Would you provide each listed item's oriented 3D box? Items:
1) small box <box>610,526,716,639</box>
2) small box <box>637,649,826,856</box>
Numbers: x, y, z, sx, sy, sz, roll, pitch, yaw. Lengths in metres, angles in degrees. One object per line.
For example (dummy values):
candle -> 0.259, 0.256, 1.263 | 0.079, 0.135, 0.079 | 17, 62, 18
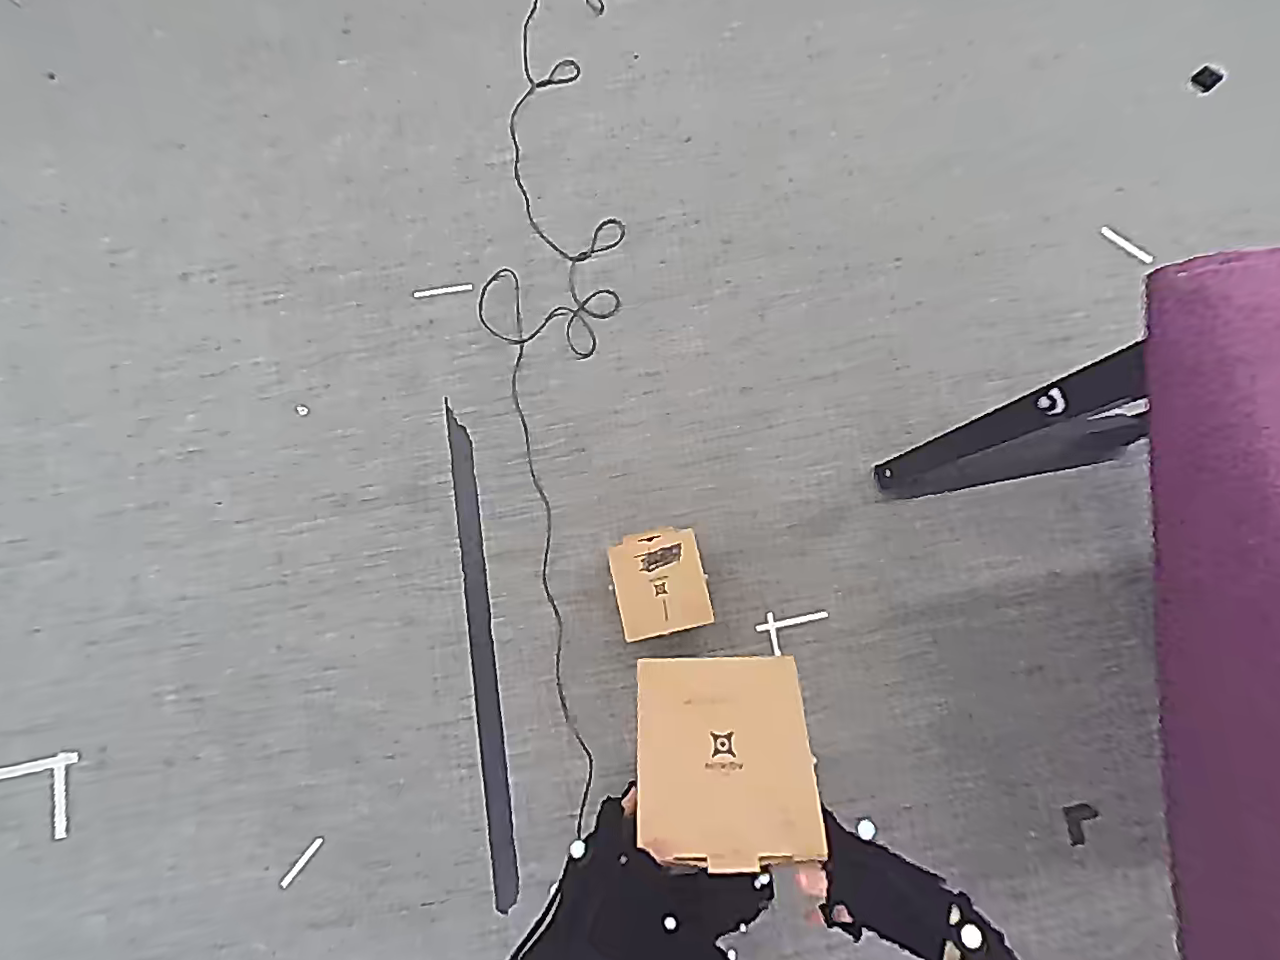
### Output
small box -> 0.039, 0.199, 1.053 | 0.168, 0.176, 0.179 | -12, 80, -2
small box -> 0.081, 0.293, 0.575 | 0.168, 0.176, 0.179 | 0, 54, 0
